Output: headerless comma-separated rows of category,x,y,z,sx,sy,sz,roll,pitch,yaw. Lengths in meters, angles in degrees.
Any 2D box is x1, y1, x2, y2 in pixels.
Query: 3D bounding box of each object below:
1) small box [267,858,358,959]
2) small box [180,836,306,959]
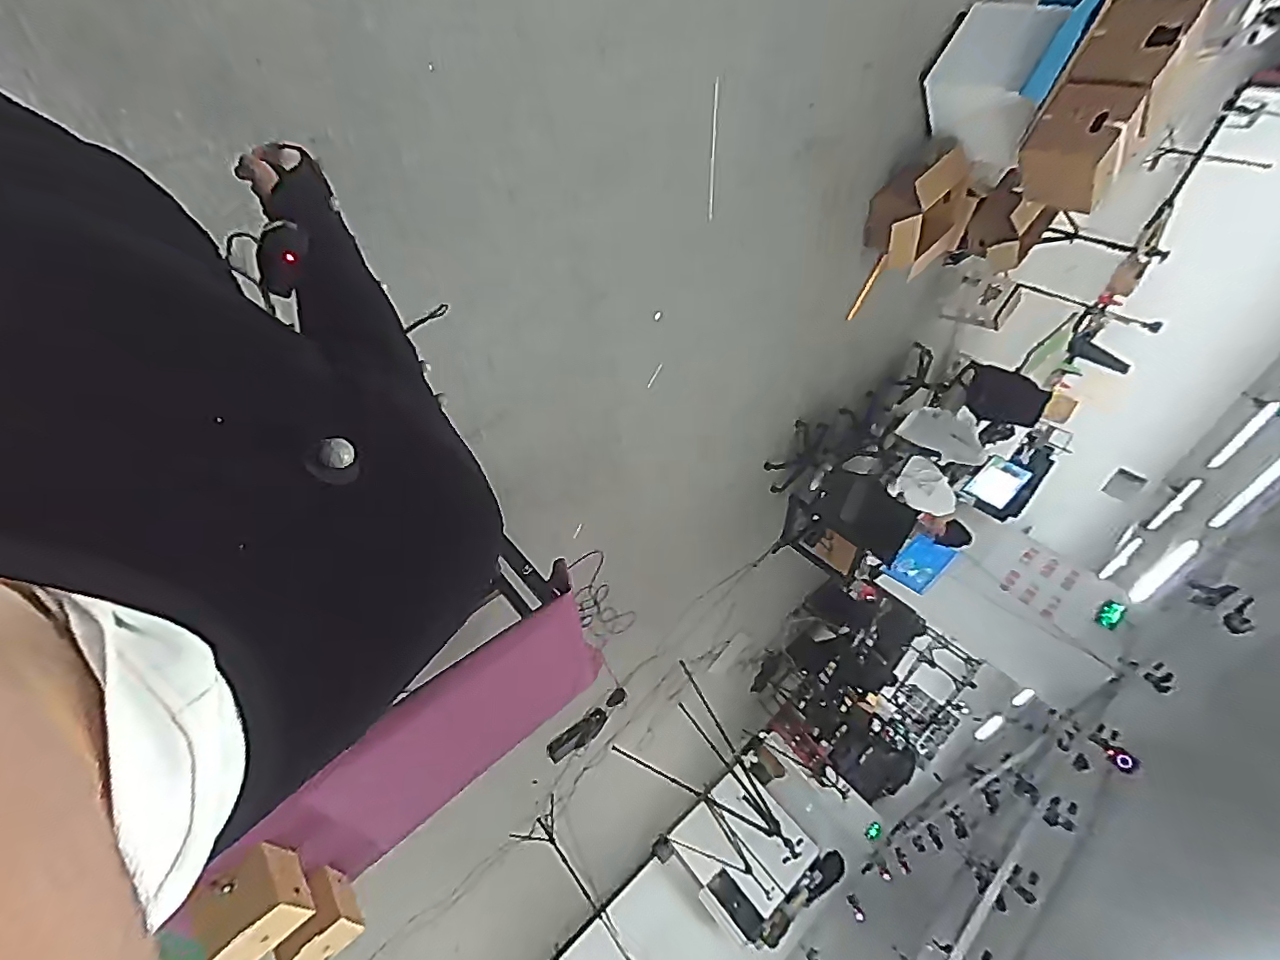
small box,-0.936,1.214,1.523,0.168,0.176,0.179,-32,140,-27
small box,-0.945,0.996,1.294,0.168,0.176,0.179,-34,145,-27
